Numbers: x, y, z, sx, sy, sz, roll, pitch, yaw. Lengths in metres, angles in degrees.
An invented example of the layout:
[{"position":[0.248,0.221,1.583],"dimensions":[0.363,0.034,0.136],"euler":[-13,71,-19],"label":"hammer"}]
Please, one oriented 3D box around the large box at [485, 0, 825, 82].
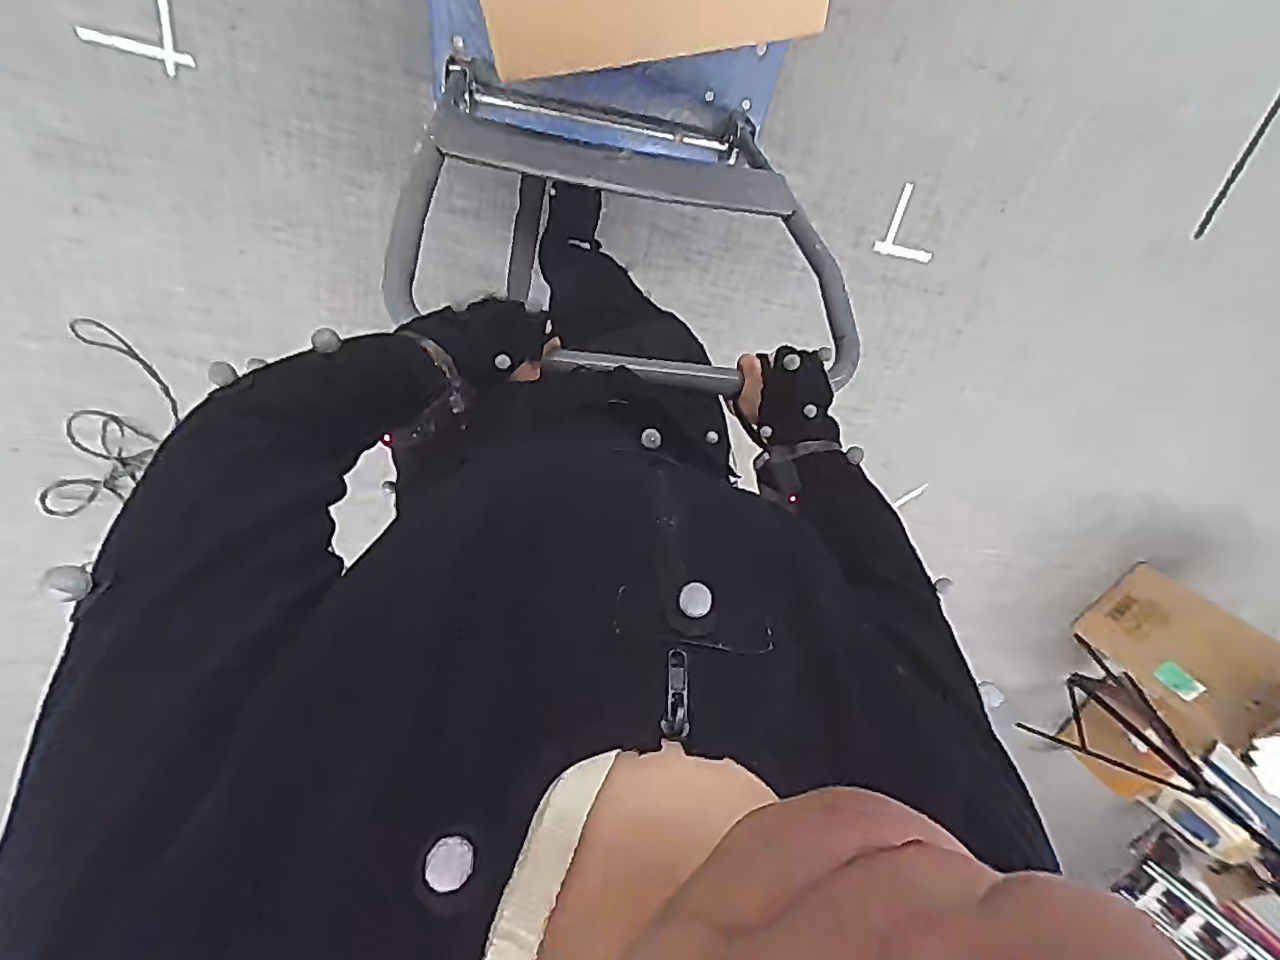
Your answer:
[{"position":[-0.012,-0.732,0.651],"dimensions":[0.408,0.320,0.320],"euler":[-10,139,-1],"label":"large box"}]
